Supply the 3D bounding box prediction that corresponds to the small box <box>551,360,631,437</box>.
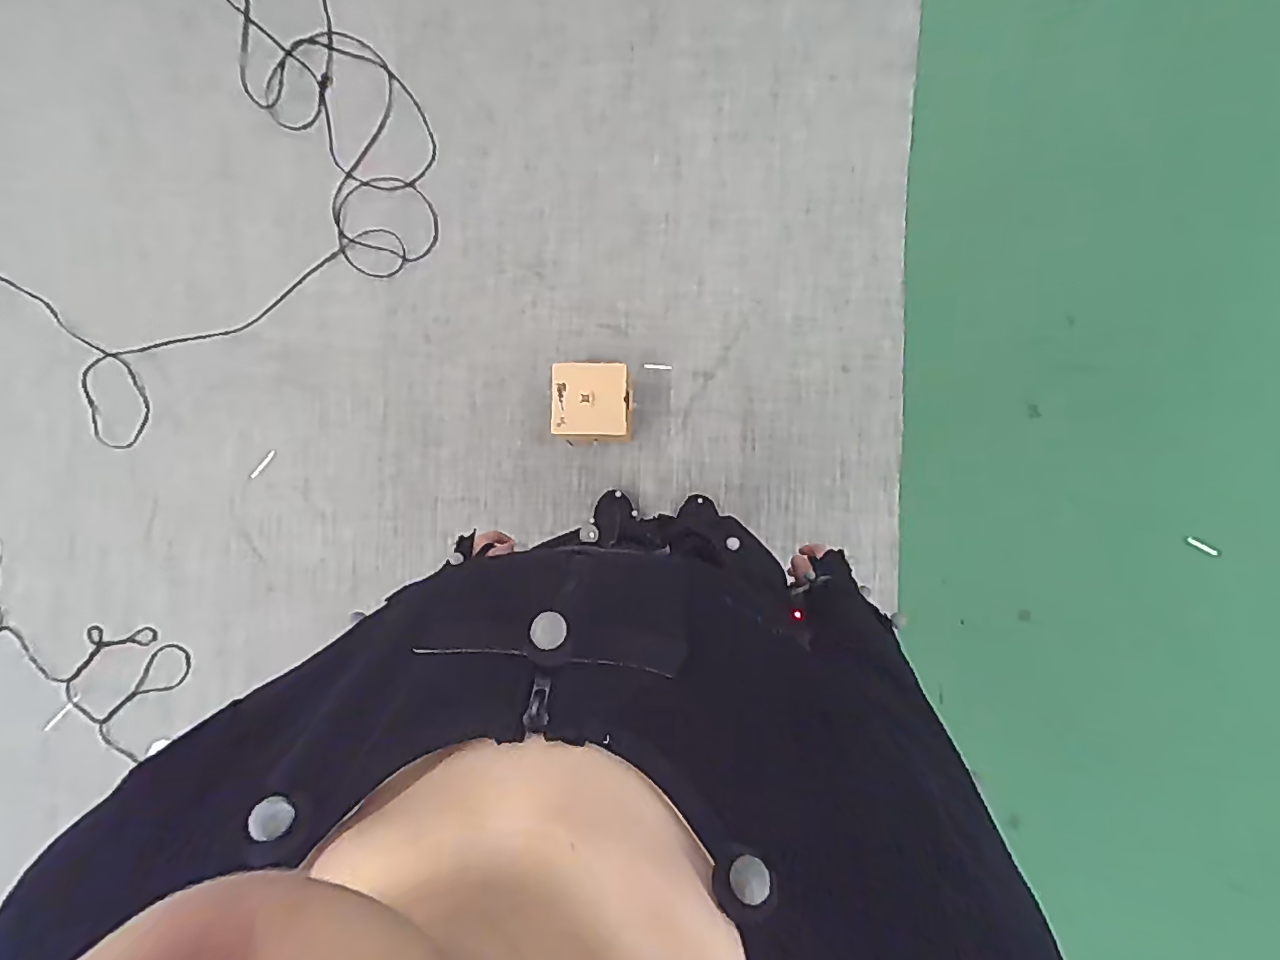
[{"bbox_3d":[-0.113,-0.194,1.312,0.179,0.176,0.168,0,90,4],"label":"small box"}]
